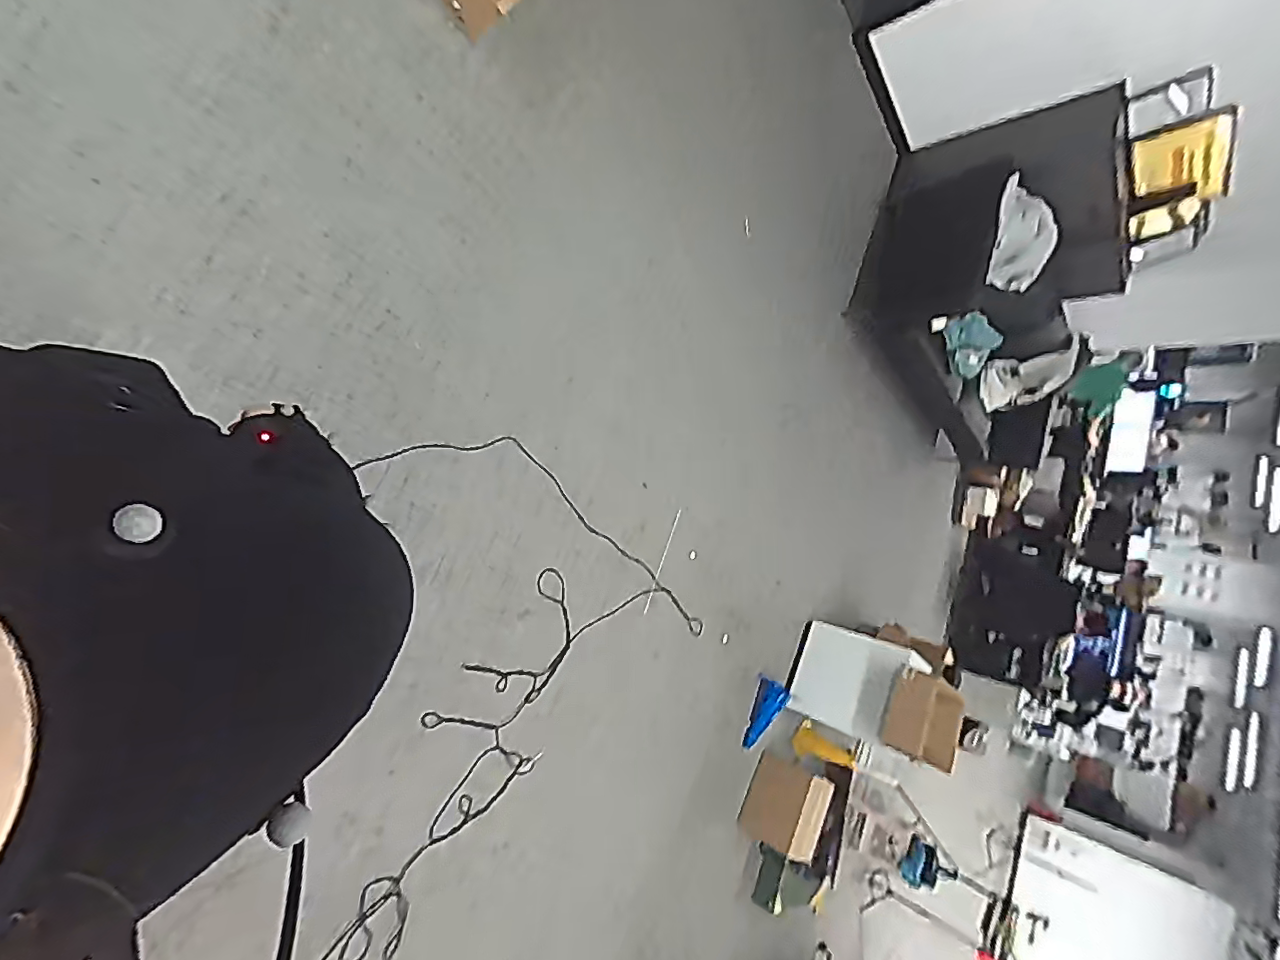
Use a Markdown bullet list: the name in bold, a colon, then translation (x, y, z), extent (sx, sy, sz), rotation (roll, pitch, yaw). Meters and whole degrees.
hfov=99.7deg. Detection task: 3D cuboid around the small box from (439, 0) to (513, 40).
- **small box**: translation (-0.430, -1.333, 1.436), extent (0.168, 0.176, 0.179), rotation (44, 65, -39)
